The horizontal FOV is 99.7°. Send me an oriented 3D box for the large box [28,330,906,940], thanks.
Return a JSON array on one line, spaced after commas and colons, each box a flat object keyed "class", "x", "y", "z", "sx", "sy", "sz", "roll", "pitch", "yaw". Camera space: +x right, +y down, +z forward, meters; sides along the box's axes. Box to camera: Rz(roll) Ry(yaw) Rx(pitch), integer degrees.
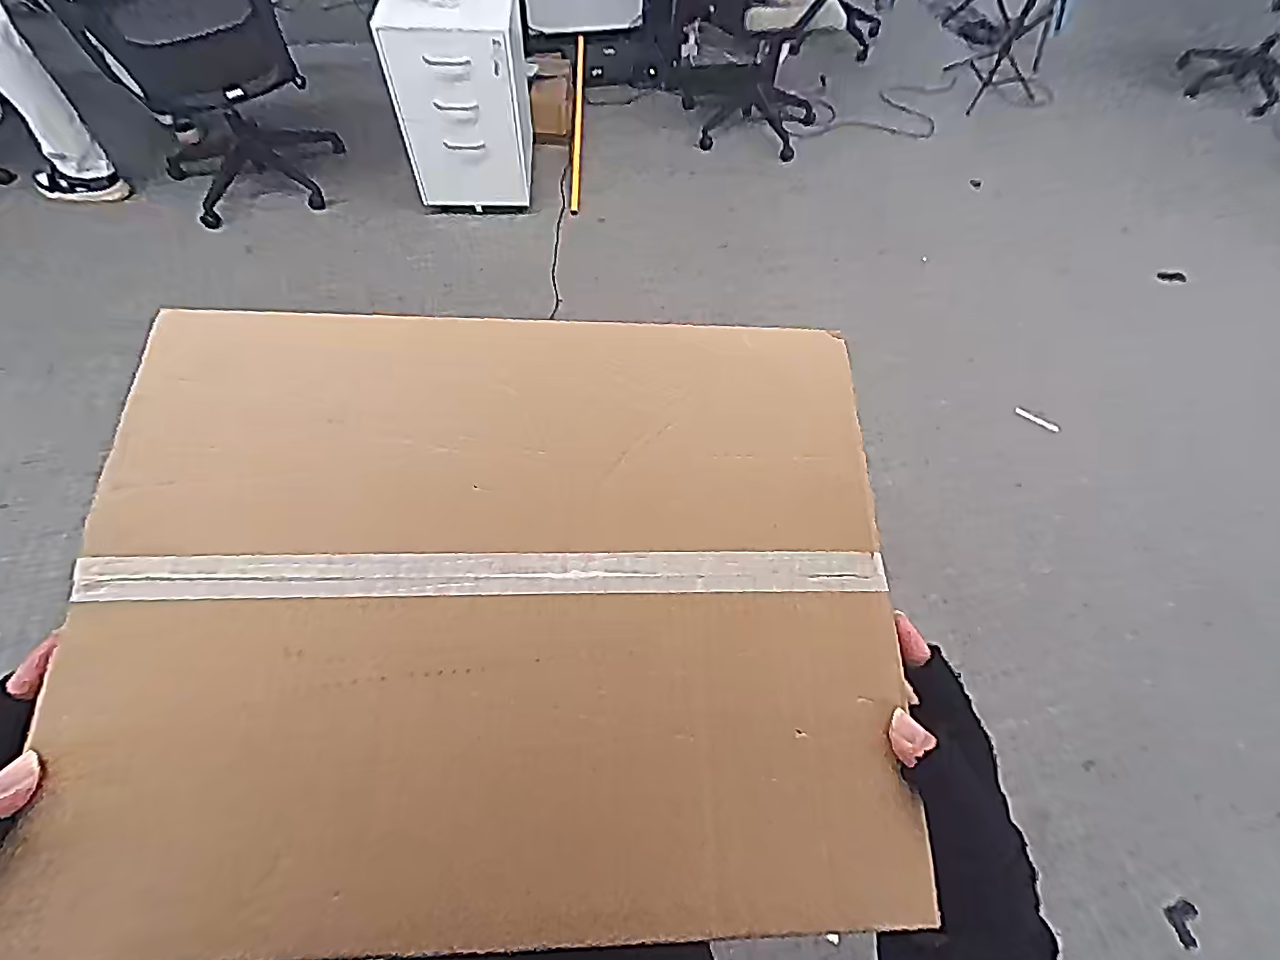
[{"class": "large box", "x": -0.083, "y": 0.100, "z": 0.435, "sx": 0.408, "sy": 0.320, "sz": 0.320, "roll": 0, "pitch": 72, "yaw": -4}]
